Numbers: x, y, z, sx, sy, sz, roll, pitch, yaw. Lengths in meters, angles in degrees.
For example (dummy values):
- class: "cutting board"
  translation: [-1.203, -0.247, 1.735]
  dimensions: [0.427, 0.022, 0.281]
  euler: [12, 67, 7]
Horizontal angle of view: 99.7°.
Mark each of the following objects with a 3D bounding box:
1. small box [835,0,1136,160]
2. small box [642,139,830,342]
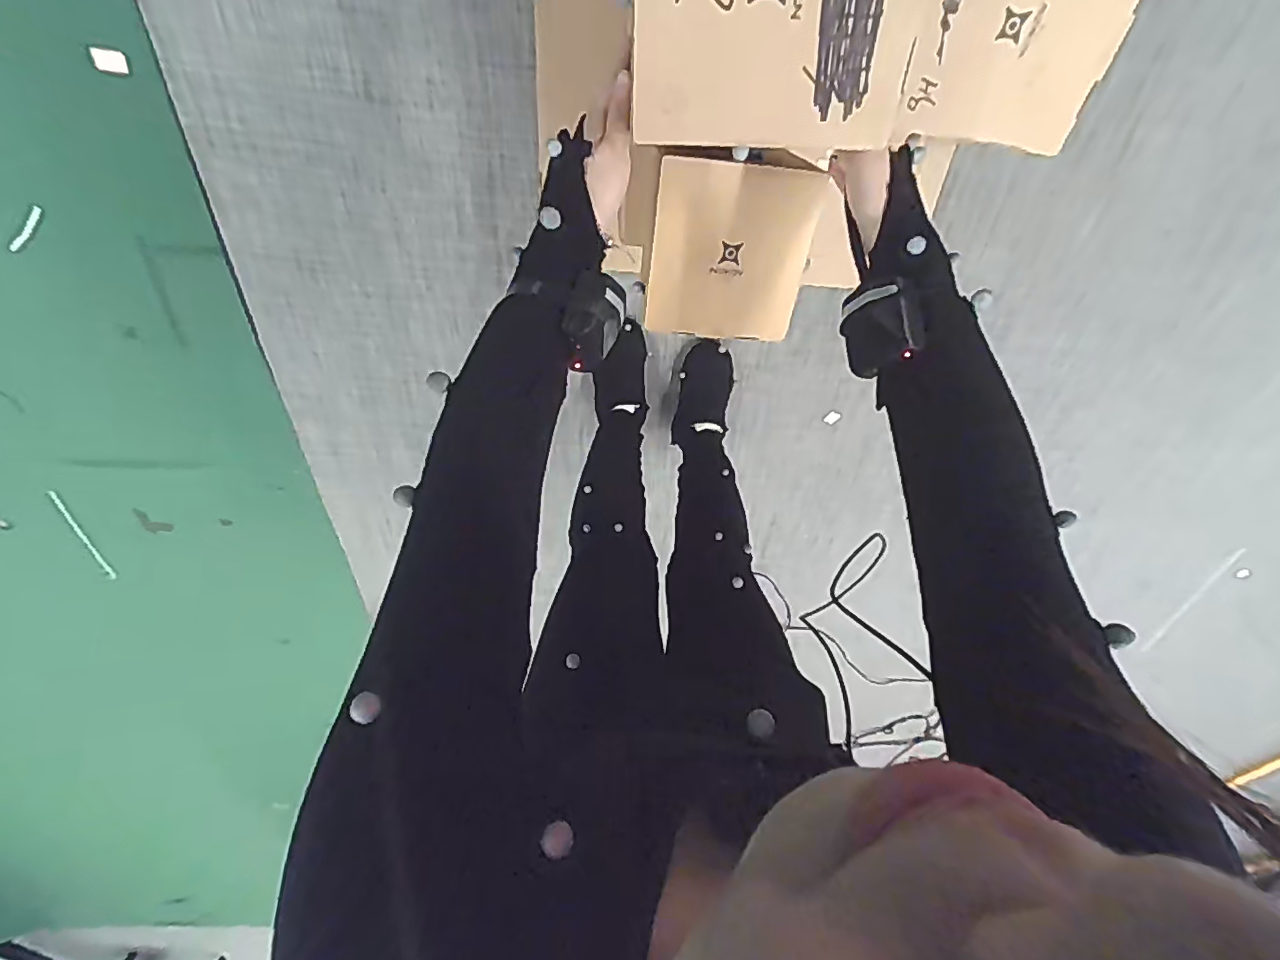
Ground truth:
- class: "small box"
  translation: [0.317, -0.425, 0.519]
  dimensions: [0.179, 0.176, 0.168]
  euler: [7, 127, -4]
- class: "small box"
  translation: [0.092, -0.280, 0.624]
  dimensions: [0.168, 0.176, 0.179]
  euler: [3, 128, -4]
